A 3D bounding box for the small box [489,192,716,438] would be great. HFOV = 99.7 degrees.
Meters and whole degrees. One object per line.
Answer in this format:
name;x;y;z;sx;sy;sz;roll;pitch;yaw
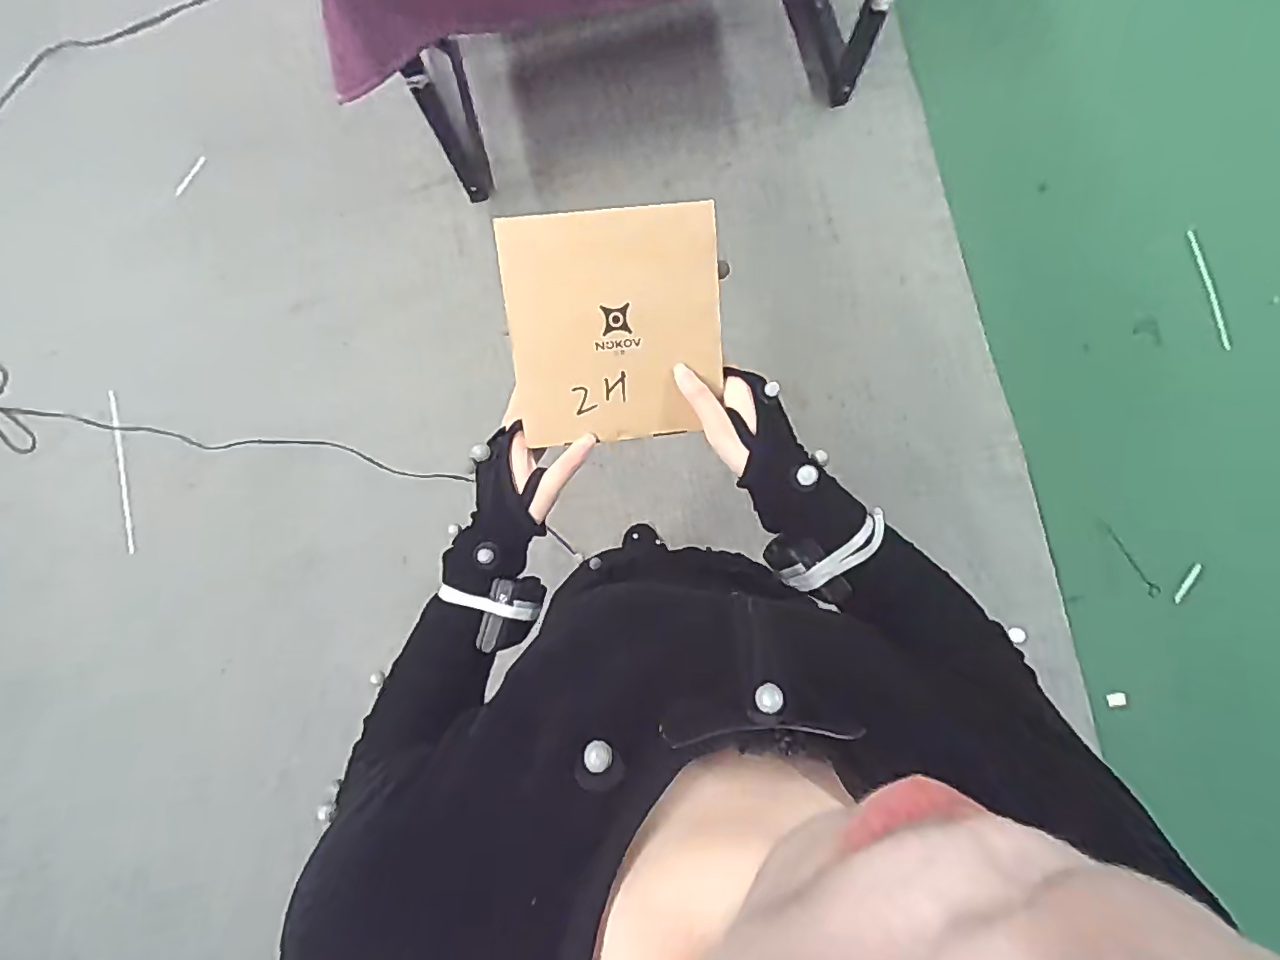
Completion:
small box;-0.030;-0.145;0.500;0.168;0.176;0.179;-6;106;-1
